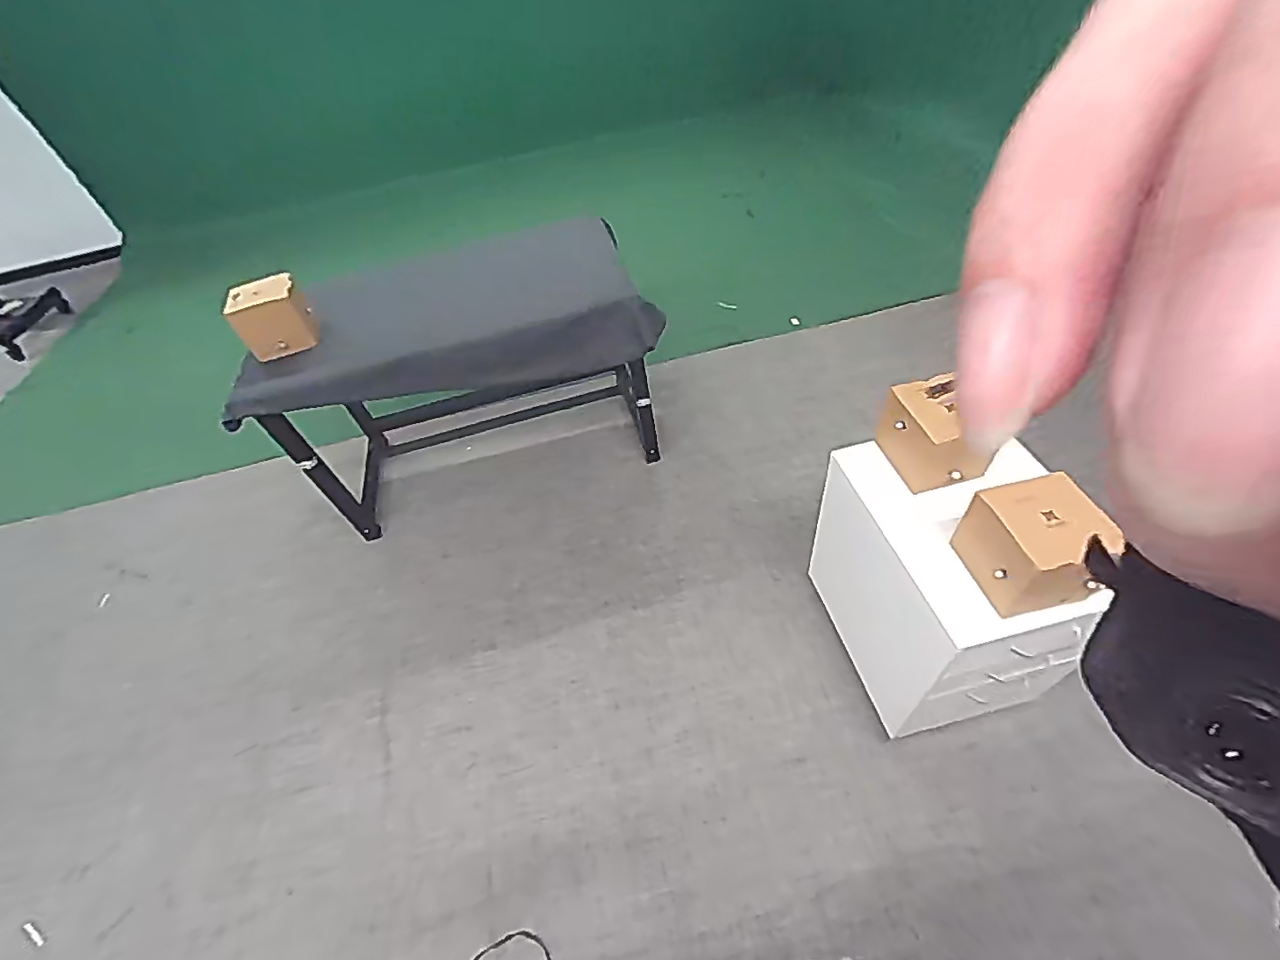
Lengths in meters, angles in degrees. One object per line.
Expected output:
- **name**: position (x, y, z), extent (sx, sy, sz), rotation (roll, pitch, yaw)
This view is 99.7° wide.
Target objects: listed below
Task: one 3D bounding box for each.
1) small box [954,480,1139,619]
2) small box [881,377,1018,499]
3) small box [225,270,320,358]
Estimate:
- **small box**: position (0.706, 0.131, 0.965), extent (0.168, 0.176, 0.179), rotation (-12, 47, -3)
- **small box**: position (0.647, -0.088, 1.160), extent (0.168, 0.176, 0.179), rotation (-14, 51, -3)
- **small box**: position (-1.084, -0.493, 1.613), extent (0.179, 0.176, 0.168), rotation (-19, 48, -9)
